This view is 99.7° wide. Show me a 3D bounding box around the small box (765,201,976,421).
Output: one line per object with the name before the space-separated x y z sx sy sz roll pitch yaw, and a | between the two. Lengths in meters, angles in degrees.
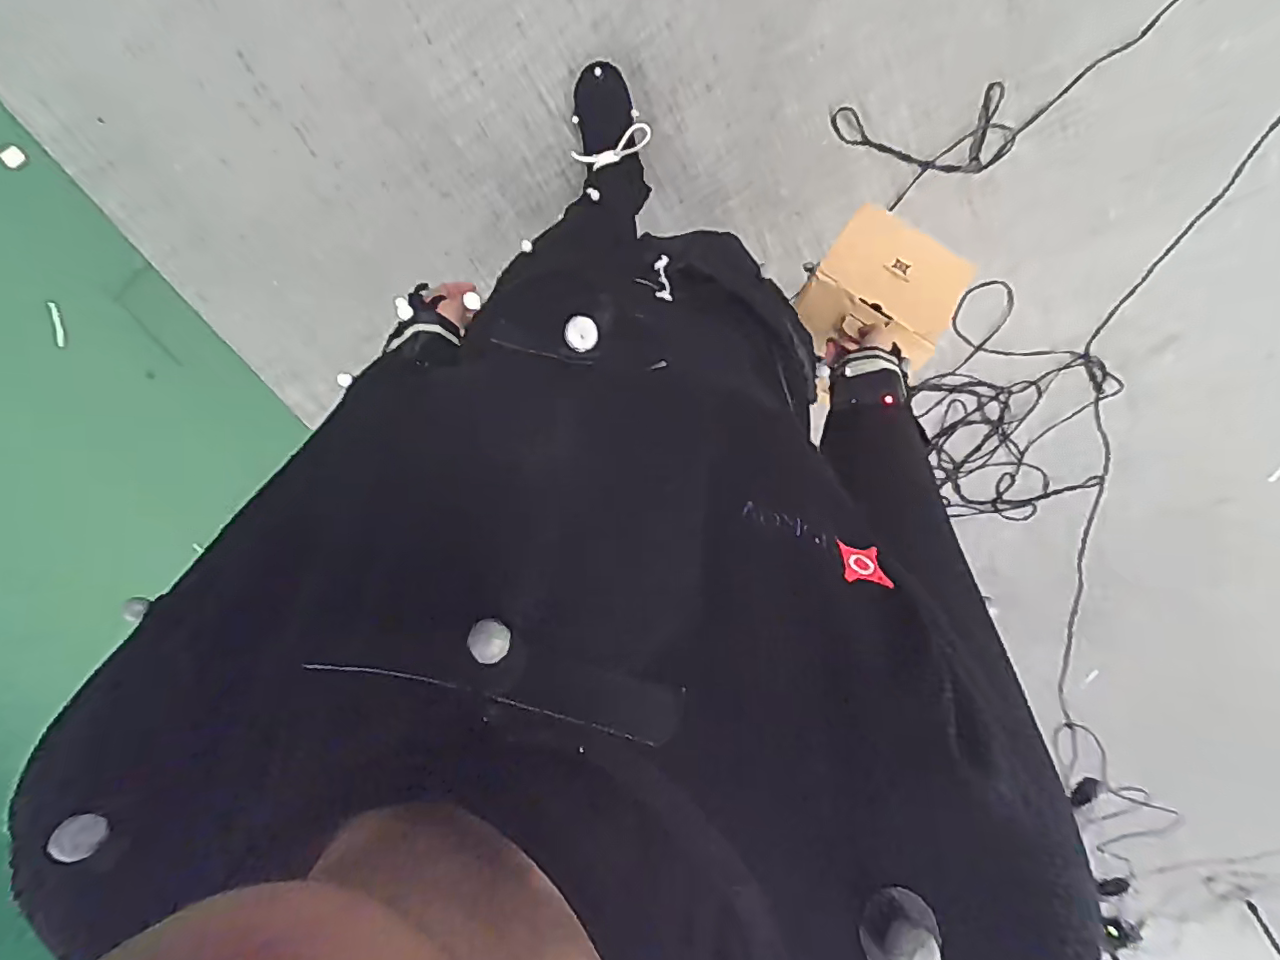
small box | 0.291 -0.213 0.710 0.168 0.179 0.176 35 153 3

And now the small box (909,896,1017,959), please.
small box | 0.674 0.978 1.106 0.168 0.176 0.179 -21 121 16
